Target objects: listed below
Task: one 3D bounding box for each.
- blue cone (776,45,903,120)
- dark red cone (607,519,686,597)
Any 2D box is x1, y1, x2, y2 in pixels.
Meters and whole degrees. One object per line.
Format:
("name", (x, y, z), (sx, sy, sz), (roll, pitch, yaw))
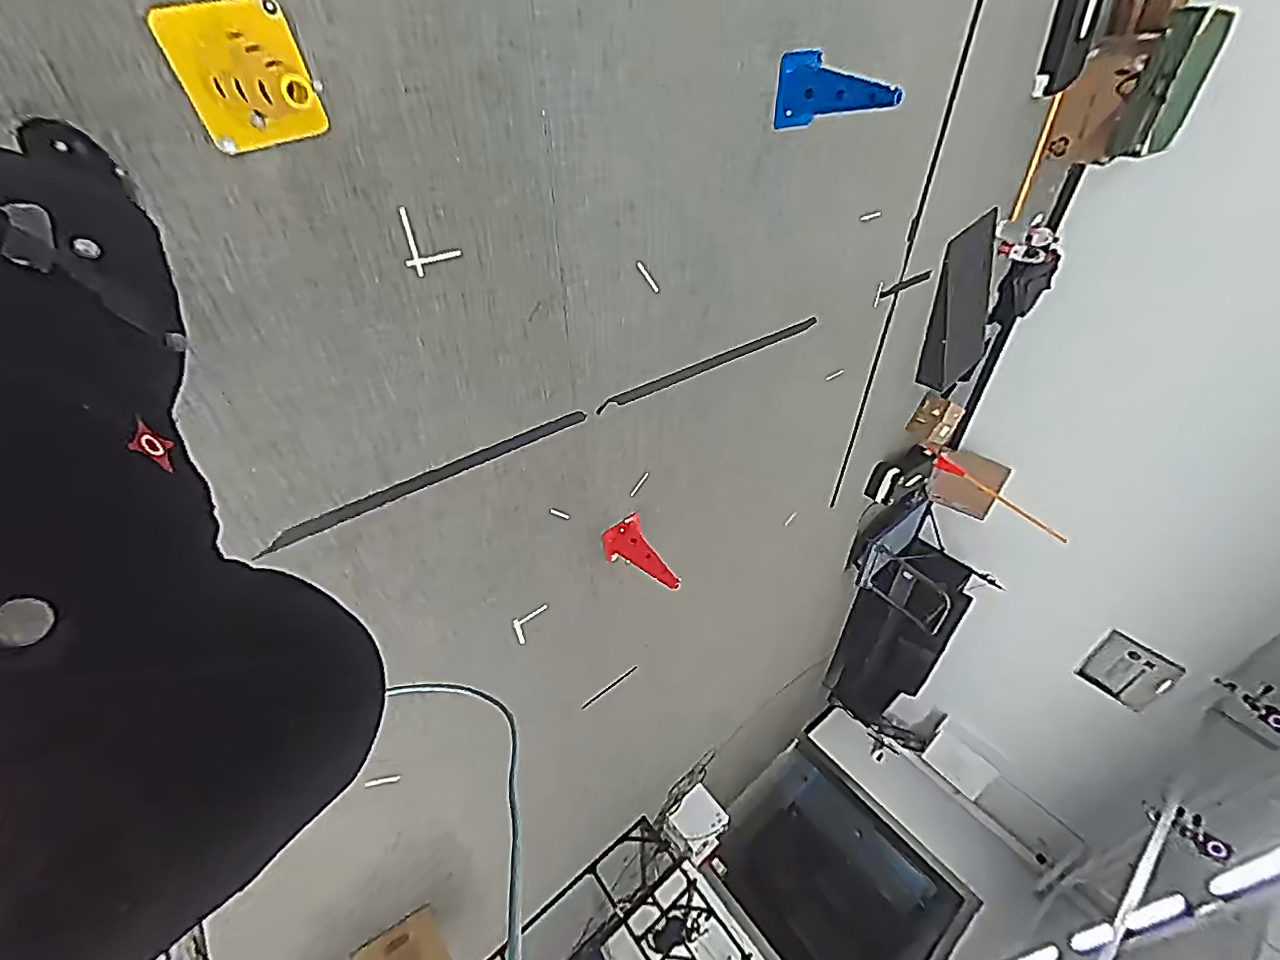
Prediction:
("blue cone", (0.608, -1.193, 1.631), (0.193, 0.380, 0.192), (-27, 136, -30))
("dark red cone", (0.048, 0.354, 2.259), (0.202, 0.394, 0.201), (-34, 138, -24))
